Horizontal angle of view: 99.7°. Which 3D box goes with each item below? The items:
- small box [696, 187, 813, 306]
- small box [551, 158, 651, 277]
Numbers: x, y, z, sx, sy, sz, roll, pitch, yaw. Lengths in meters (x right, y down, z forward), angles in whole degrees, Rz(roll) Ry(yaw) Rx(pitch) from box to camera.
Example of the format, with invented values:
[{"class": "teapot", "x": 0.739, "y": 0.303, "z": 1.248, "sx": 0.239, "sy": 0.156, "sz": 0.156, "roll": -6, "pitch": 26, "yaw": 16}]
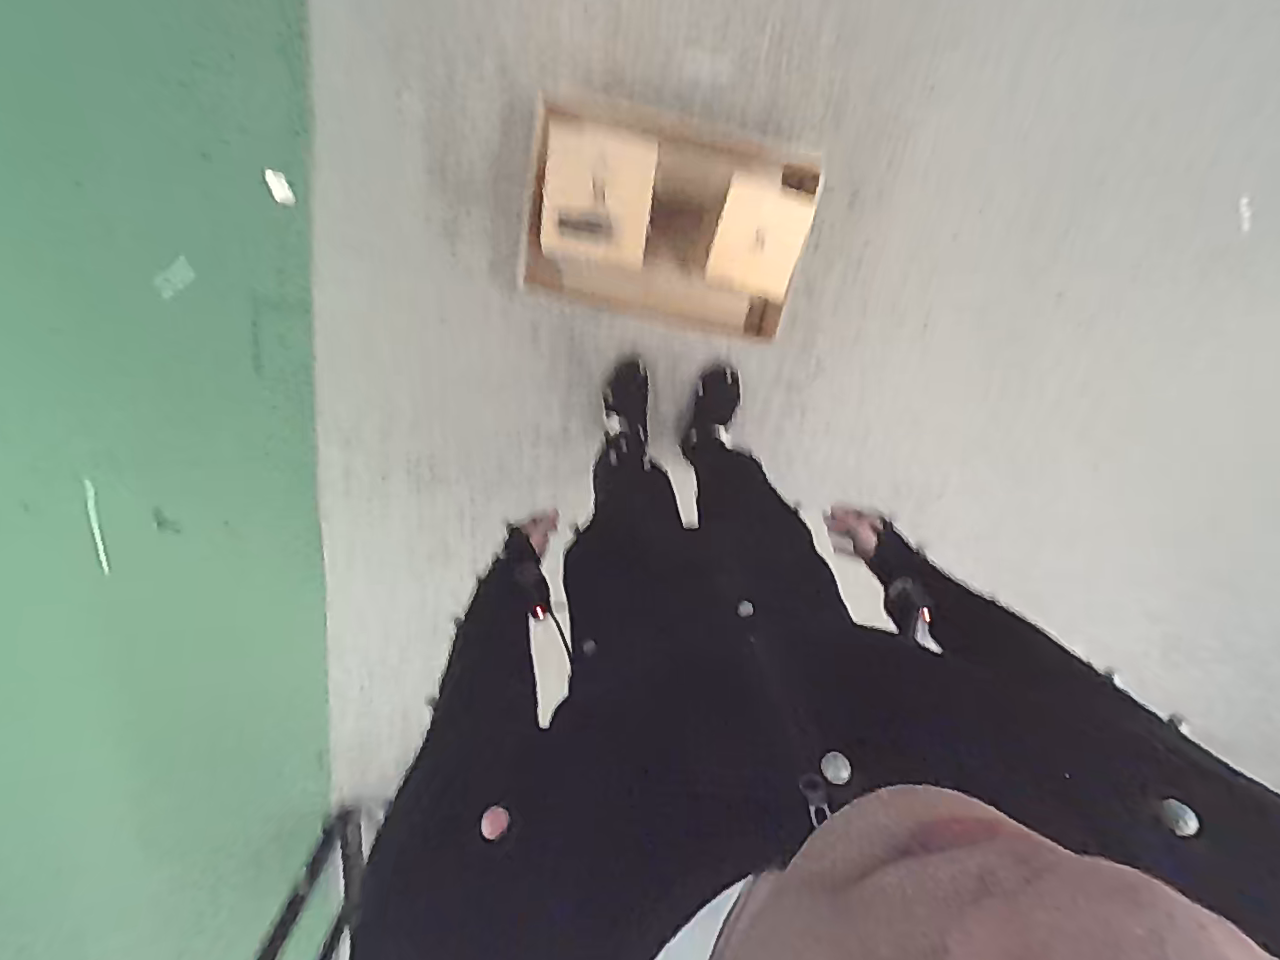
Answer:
[{"class": "small box", "x": 0.220, "y": -0.468, "z": 1.101, "sx": 0.168, "sy": 0.176, "sz": 0.179, "roll": 14, "pitch": 111, "yaw": -7}, {"class": "small box", "x": -0.076, "y": -0.511, "z": 1.076, "sx": 0.168, "sy": 0.176, "sz": 0.179, "roll": 9, "pitch": 109, "yaw": -3}]
